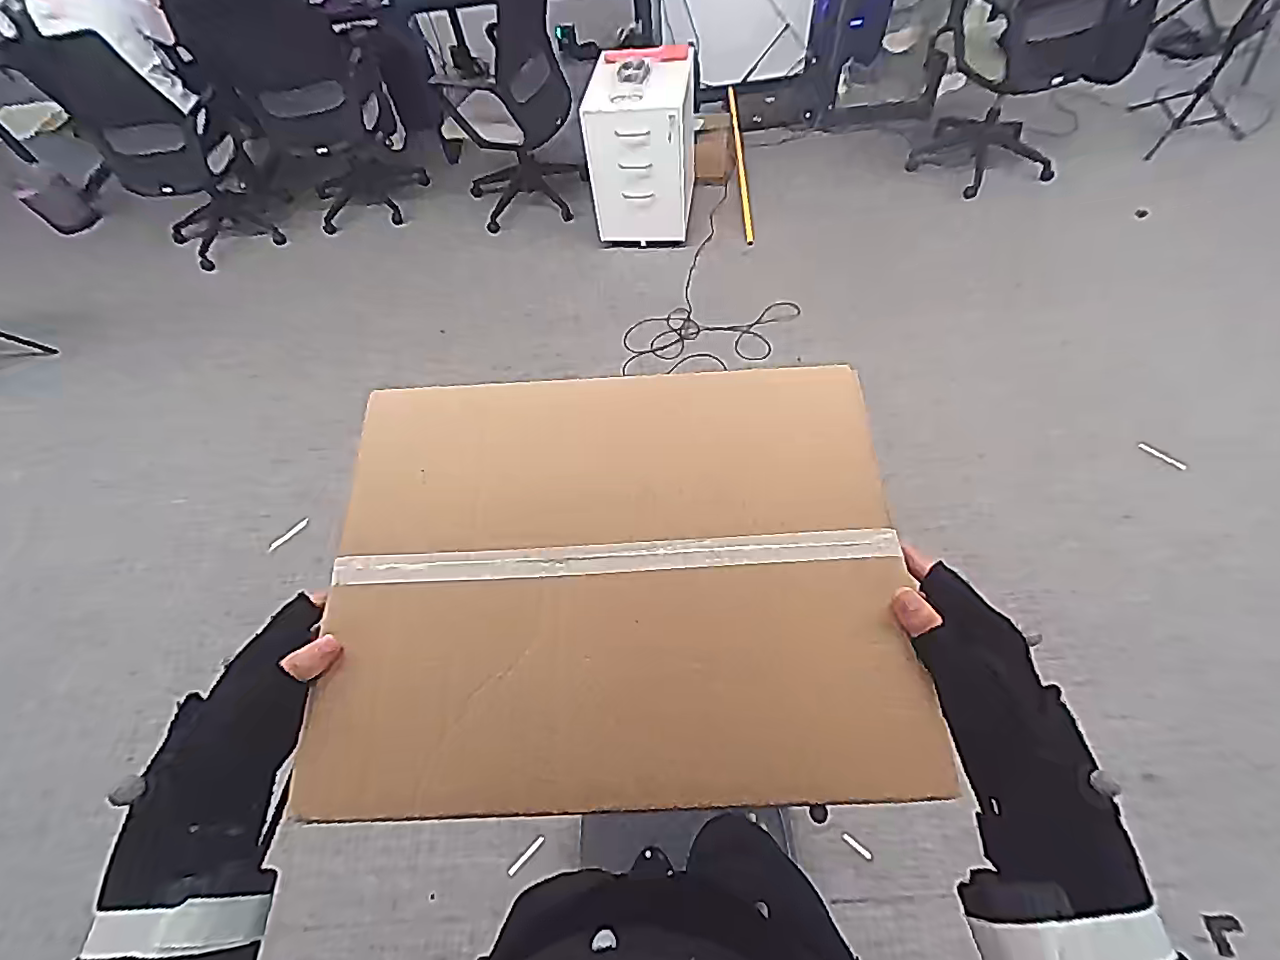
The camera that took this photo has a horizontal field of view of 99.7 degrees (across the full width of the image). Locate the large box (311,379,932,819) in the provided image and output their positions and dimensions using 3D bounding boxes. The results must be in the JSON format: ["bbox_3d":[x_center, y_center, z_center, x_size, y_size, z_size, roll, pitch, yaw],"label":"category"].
[{"bbox_3d":[-0.013,0.124,0.536,0.408,0.320,0.320,-3,65,1],"label":"large box"}]
